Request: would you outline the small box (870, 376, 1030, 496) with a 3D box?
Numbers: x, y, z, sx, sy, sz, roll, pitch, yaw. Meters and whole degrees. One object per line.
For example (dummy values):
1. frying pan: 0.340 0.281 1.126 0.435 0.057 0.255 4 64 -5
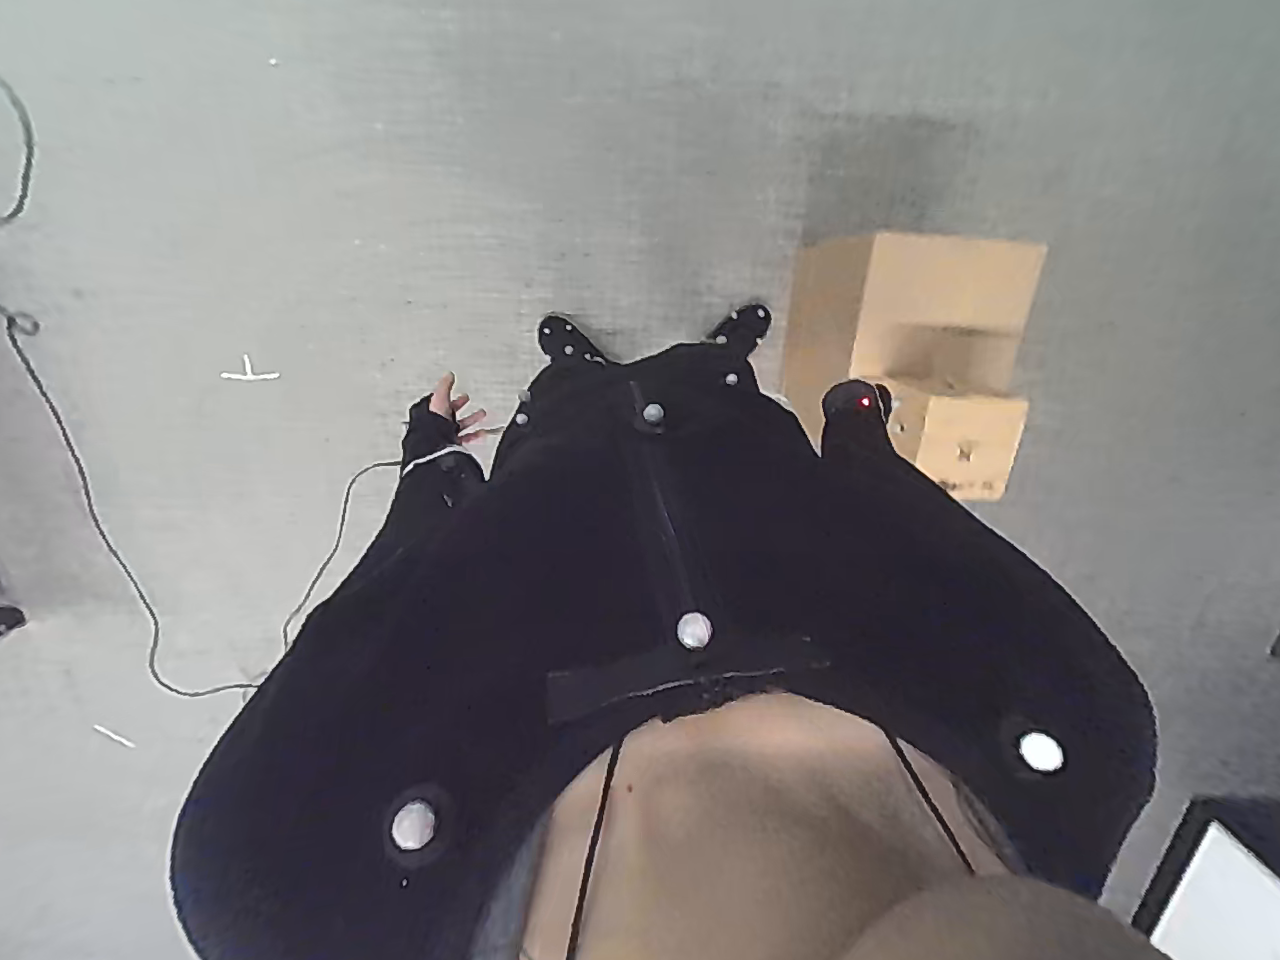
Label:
1. small box: 0.528 -0.085 0.949 0.168 0.176 0.179 2 110 -2
